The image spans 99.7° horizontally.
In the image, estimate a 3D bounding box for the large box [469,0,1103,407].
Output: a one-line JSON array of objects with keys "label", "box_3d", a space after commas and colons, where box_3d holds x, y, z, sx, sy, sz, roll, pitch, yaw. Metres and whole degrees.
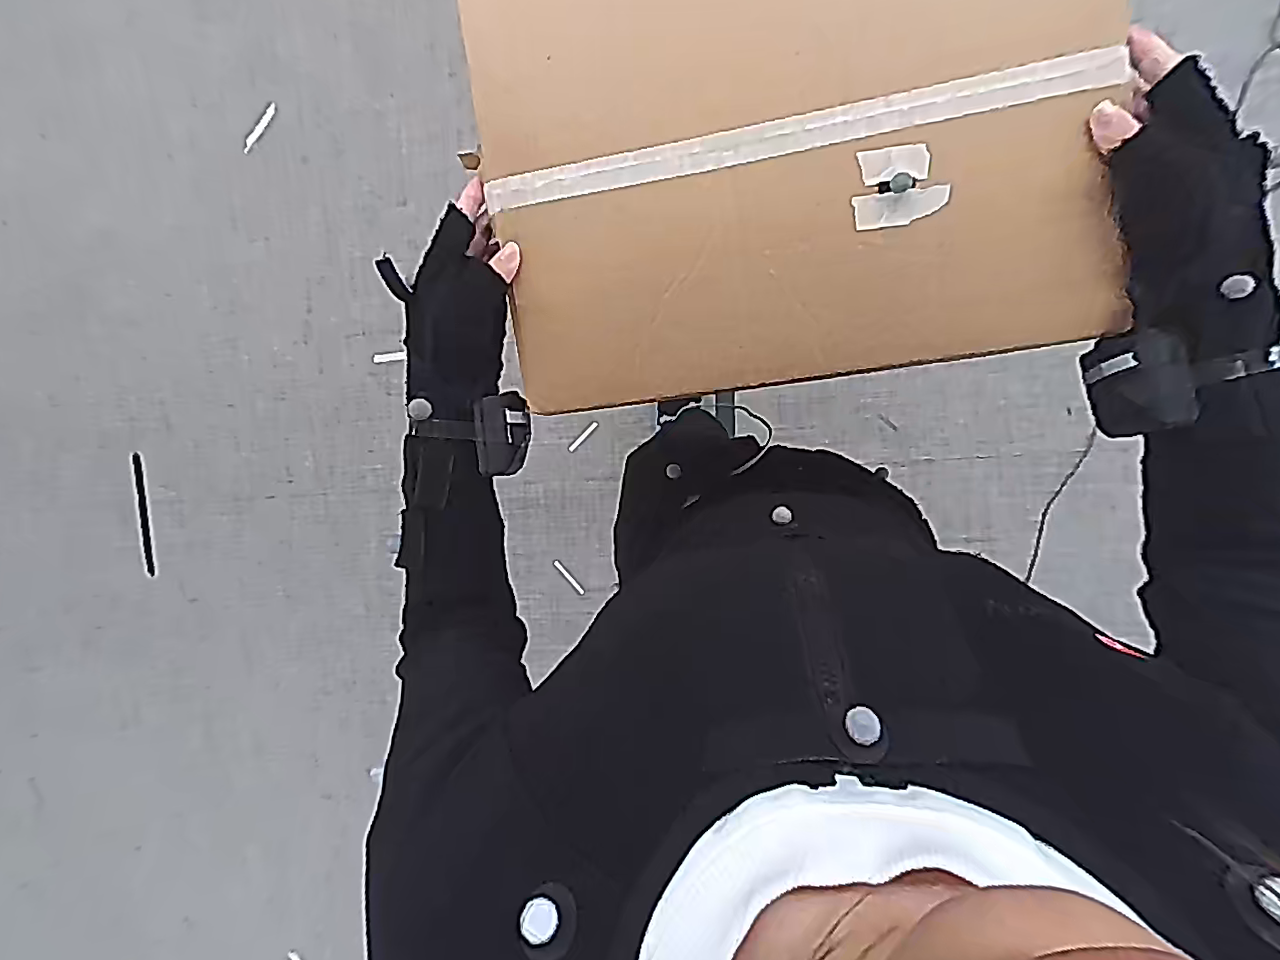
[{"label": "large box", "box_3d": [0.110, -0.255, 0.515, 0.408, 0.320, 0.320, -7, 99, 7]}]
